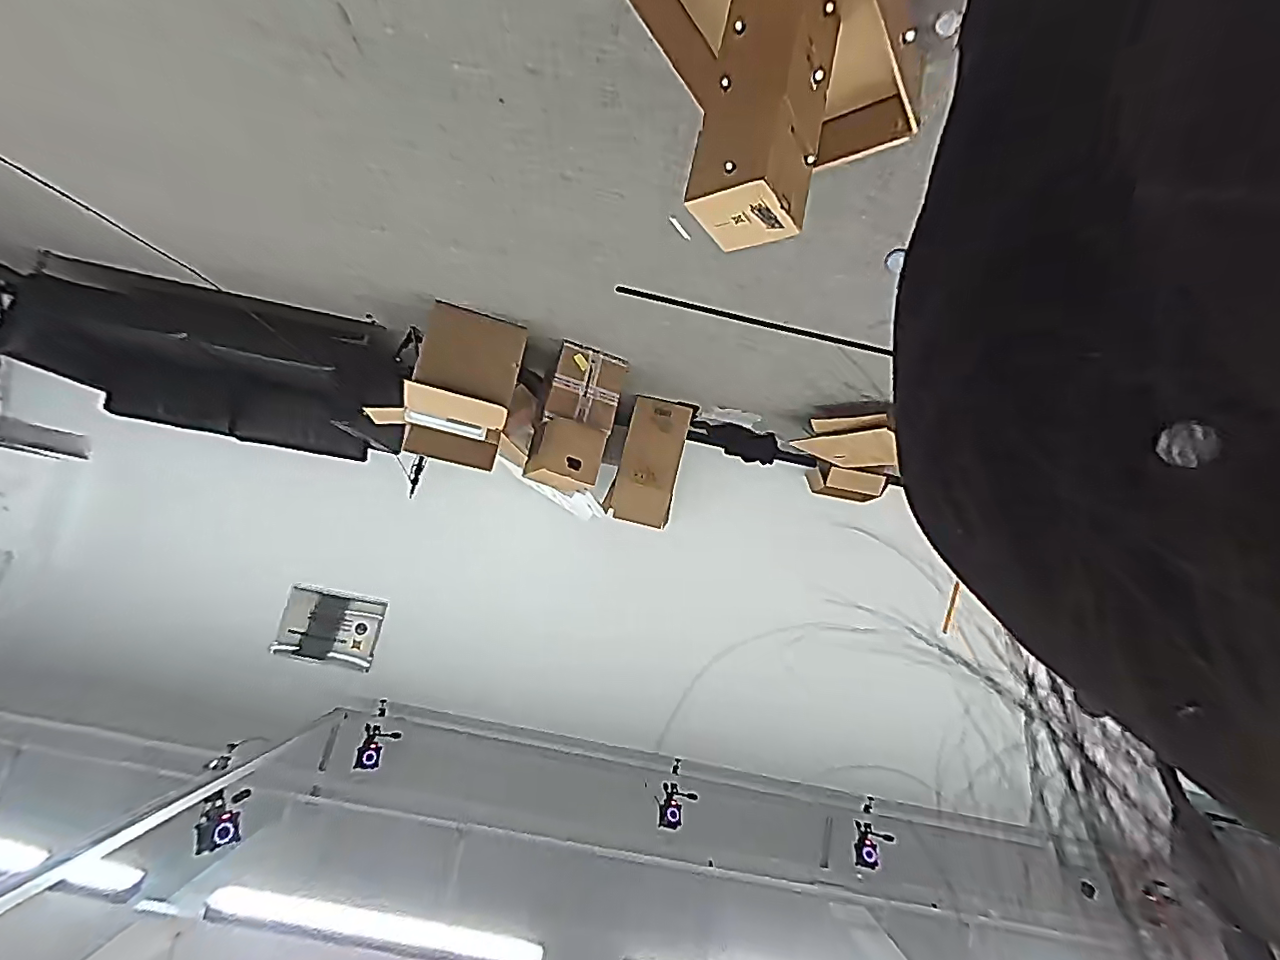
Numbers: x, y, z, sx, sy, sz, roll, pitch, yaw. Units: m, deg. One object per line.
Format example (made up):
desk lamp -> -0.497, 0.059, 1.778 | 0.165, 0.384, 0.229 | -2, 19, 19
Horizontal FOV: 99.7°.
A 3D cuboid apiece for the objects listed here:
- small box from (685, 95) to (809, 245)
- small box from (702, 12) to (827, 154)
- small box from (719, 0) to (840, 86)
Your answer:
small box -> 0.213, -0.591, 1.043 | 0.179, 0.176, 0.168 | 6, 169, 40
small box -> 0.249, -0.750, 1.066 | 0.179, 0.176, 0.168 | 3, 168, 39
small box -> 0.285, -0.906, 1.092 | 0.179, 0.176, 0.168 | 4, 168, 38
